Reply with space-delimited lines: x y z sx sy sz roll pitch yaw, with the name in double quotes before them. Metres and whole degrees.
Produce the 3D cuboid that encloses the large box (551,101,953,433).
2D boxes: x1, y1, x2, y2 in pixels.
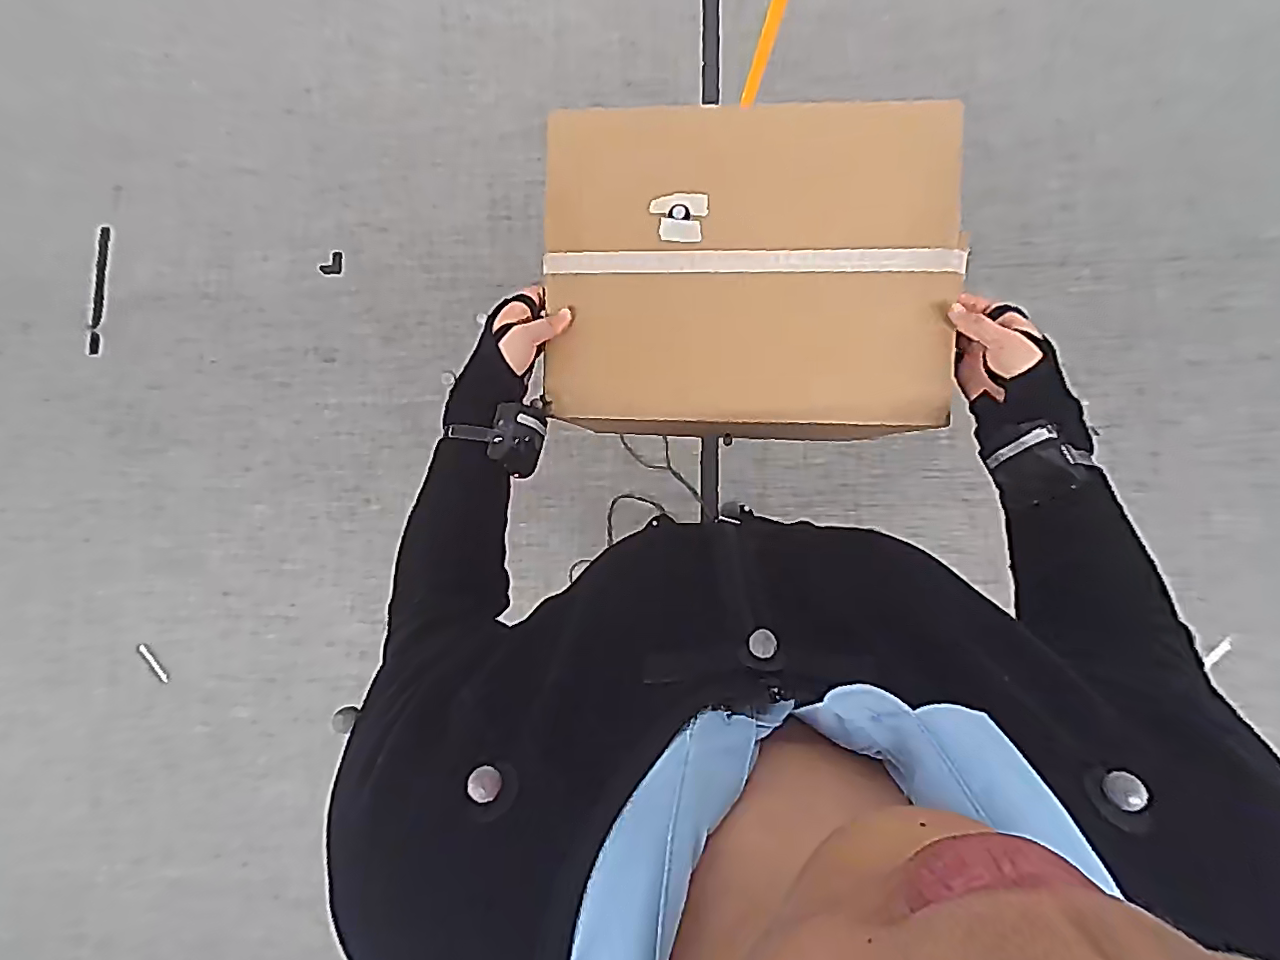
"large box" 0.123 -0.221 0.694 0.408 0.320 0.320 2 91 6
